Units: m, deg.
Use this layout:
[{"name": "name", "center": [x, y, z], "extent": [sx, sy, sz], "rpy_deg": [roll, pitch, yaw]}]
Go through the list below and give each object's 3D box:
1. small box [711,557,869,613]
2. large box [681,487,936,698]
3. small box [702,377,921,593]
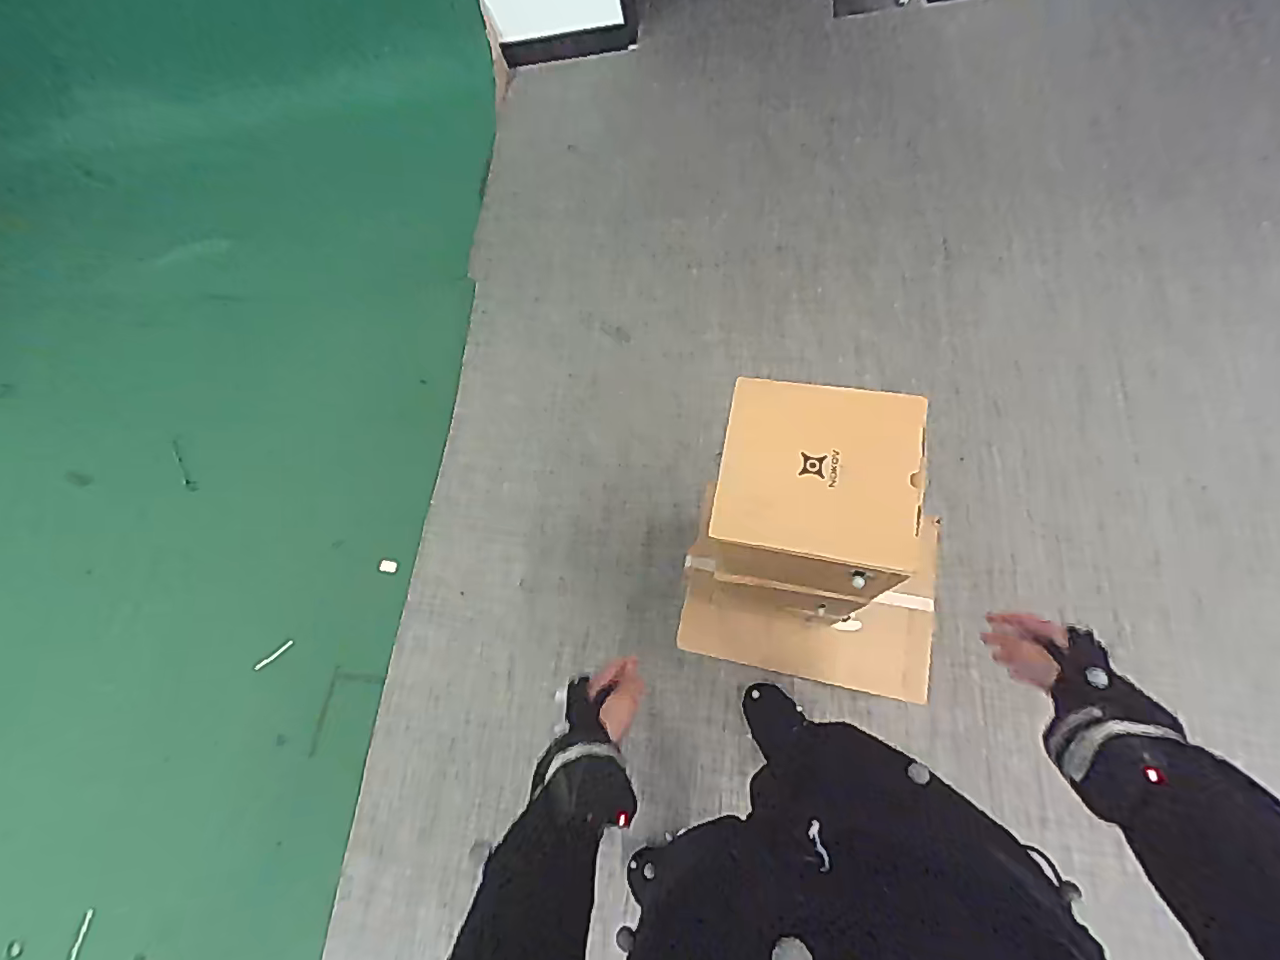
[{"name": "small box", "center": [0.194, 0.075, 0.708], "extent": [0.179, 0.176, 0.168], "rpy_deg": [5, 71, 14]}, {"name": "large box", "center": [0.315, 0.221, 1.071], "extent": [0.408, 0.320, 0.320], "rpy_deg": [8, 74, 14]}, {"name": "small box", "center": [0.169, 0.013, 0.559], "extent": [0.179, 0.176, 0.168], "rpy_deg": [8, 72, 13]}]
